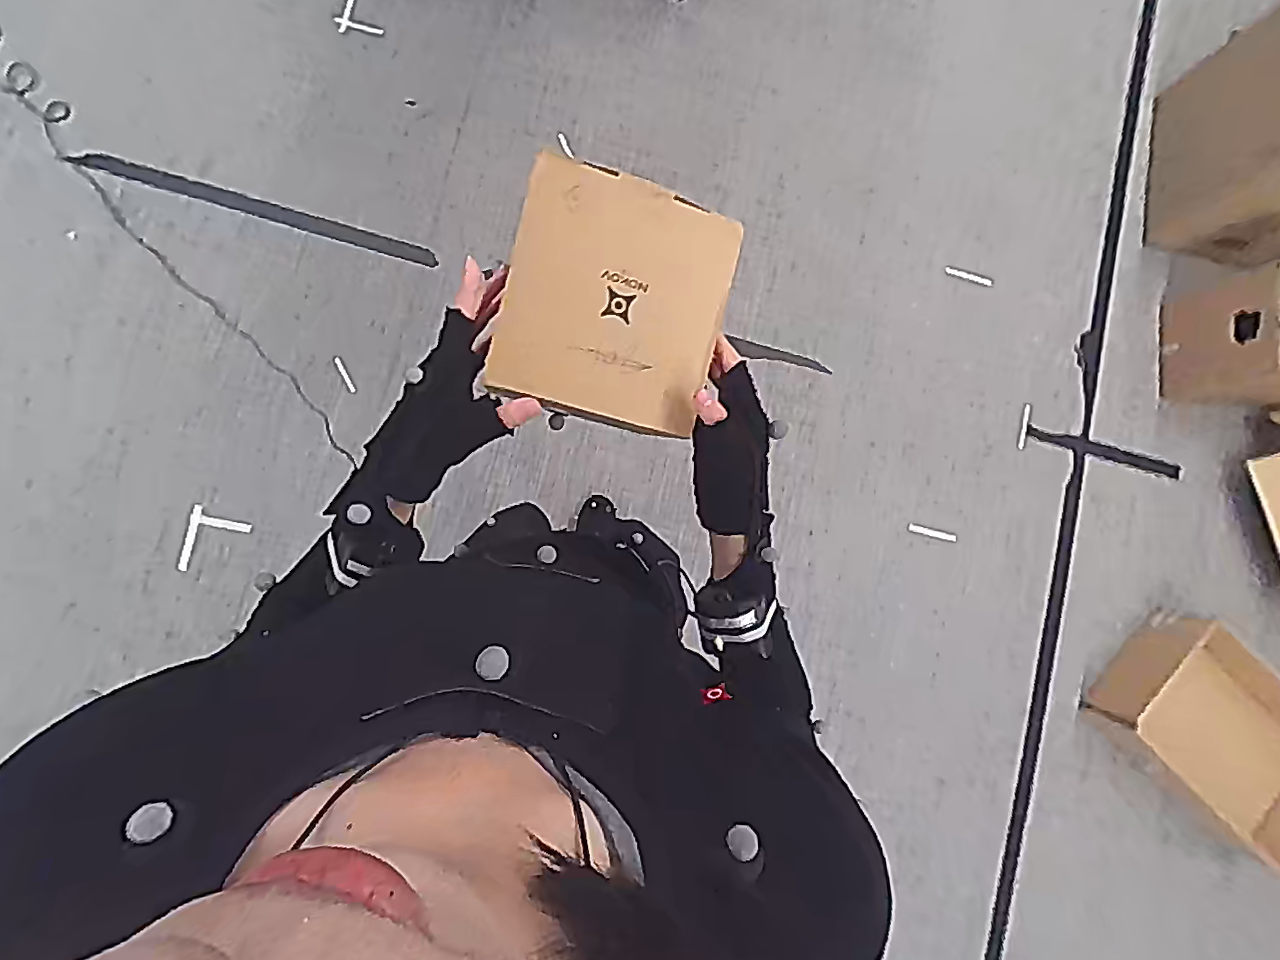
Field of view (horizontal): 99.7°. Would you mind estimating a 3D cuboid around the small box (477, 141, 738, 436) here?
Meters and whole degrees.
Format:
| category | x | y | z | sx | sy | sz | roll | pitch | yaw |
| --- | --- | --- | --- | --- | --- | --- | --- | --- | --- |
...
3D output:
| category | x | y | z | sx | sy | sz | roll | pitch | yaw |
| --- | --- | --- | --- | --- | --- | --- | --- | --- | --- |
| small box | -0.038 | -0.143 | 0.476 | 0.168 | 0.176 | 0.179 | 14 | 92 | -14 |
